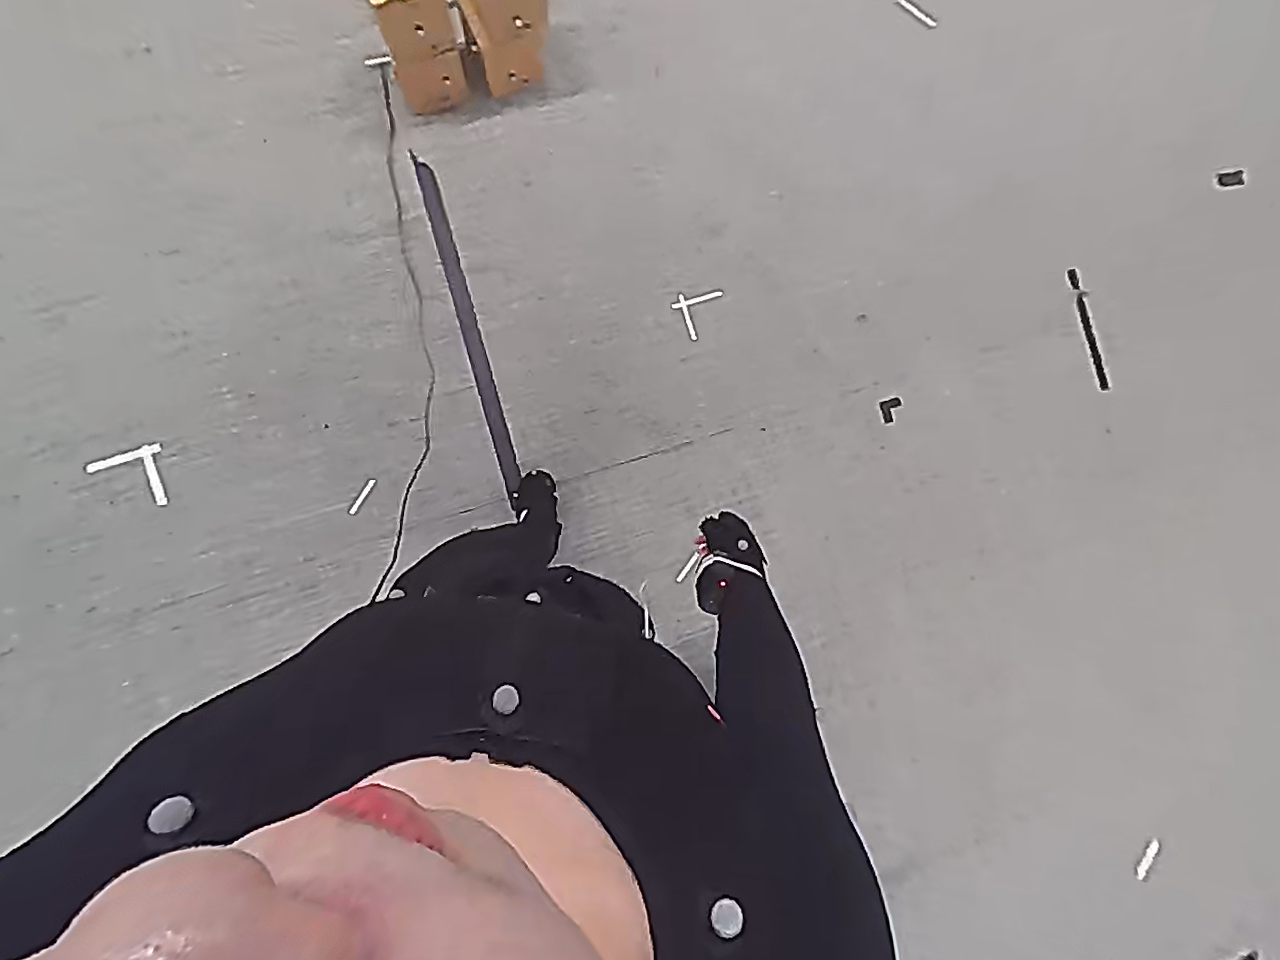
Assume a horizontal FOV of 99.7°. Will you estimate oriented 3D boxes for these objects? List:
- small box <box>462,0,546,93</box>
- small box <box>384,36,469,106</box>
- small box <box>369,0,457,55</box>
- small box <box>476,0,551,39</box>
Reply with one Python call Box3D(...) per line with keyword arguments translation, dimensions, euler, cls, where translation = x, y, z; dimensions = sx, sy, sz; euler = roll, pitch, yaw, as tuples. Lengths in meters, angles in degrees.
Box3D(translation=(-0.364, -1.199, 1.452), dimensions=(0.168, 0.176, 0.179), euler=(-25, 91, -7), cls="small box")
Box3D(translation=(-0.569, -1.130, 1.425), dimensions=(0.168, 0.176, 0.179), euler=(-22, 89, -8), cls="small box")
Box3D(translation=(-0.550, -1.143, 1.262), dimensions=(0.168, 0.176, 0.179), euler=(-26, 91, -8), cls="small box")
Box3D(translation=(-0.322, -1.220, 1.293), dimensions=(0.168, 0.176, 0.179), euler=(-24, 92, -7), cls="small box")
